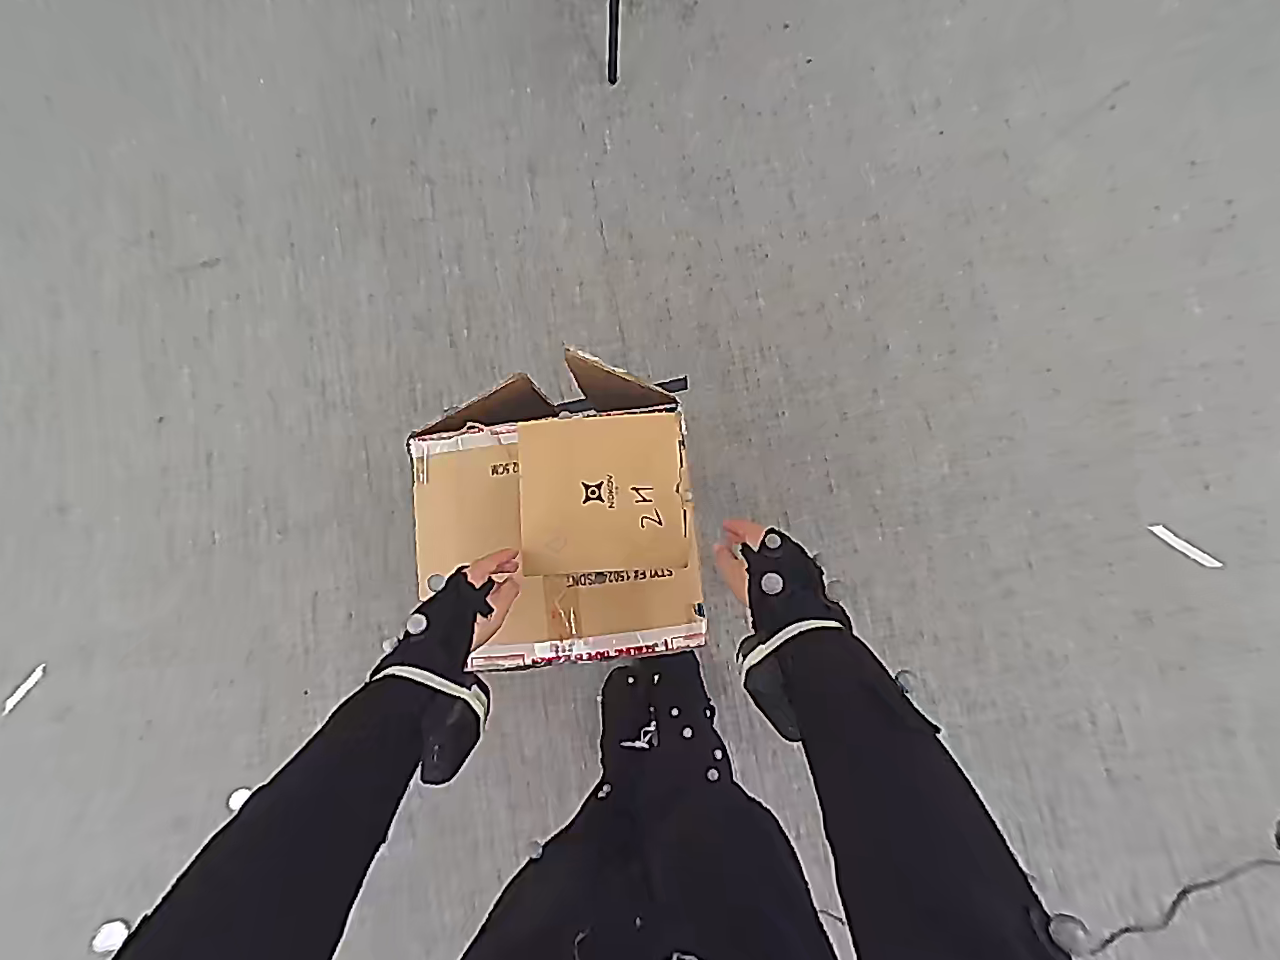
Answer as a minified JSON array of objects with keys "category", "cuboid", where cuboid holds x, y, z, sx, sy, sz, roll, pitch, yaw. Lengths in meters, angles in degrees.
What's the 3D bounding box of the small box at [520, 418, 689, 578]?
[{"category":"small box","cuboid":[-0.036,0.027,0.649,0.179,0.176,0.168,-4,84,2]}]
